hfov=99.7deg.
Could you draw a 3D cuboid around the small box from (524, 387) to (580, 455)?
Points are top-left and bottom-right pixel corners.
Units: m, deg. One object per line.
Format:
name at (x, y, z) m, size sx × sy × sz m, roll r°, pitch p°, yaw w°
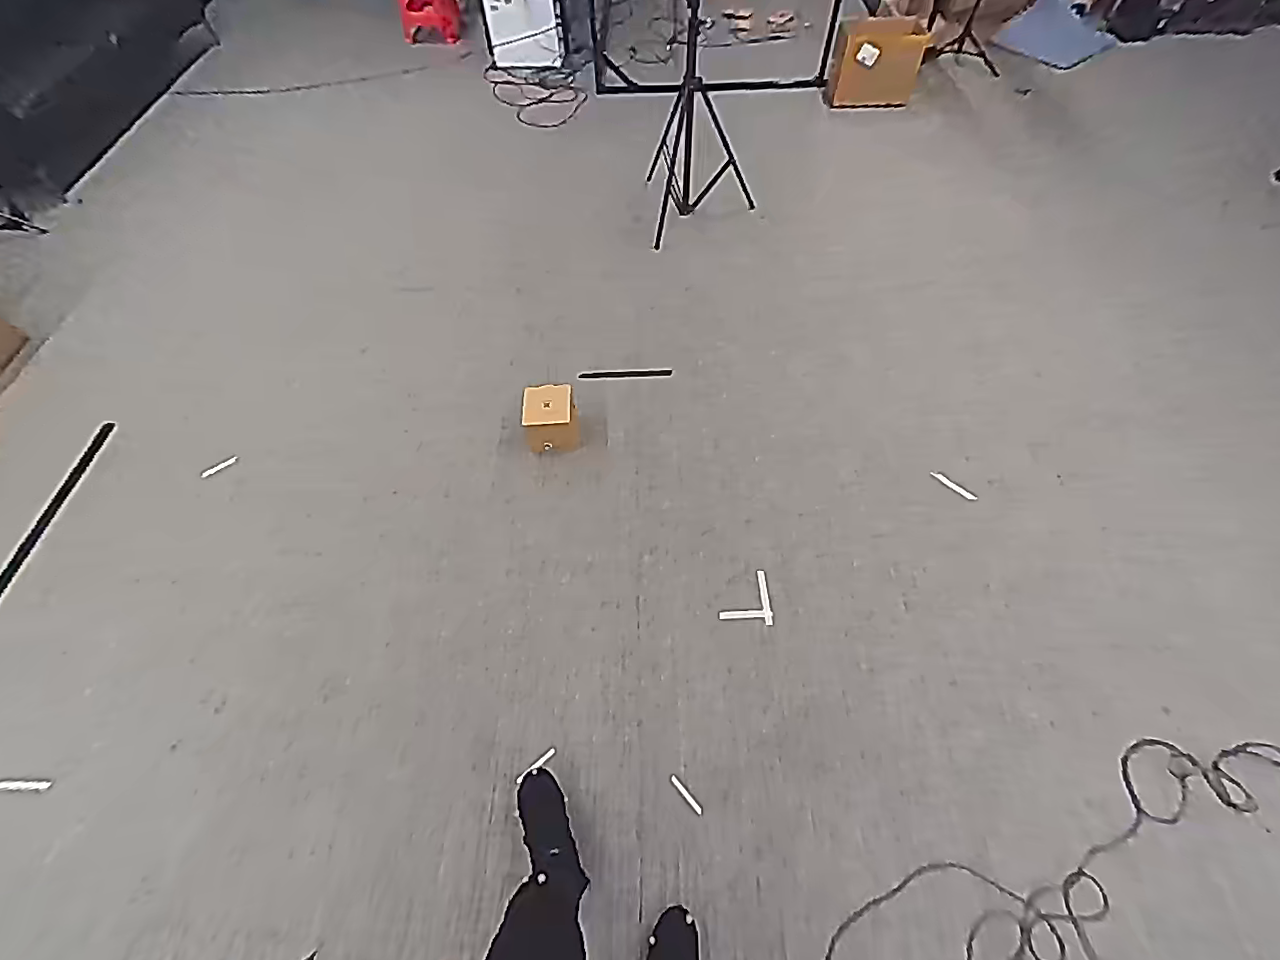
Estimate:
small box at (-0.311, -0.210, 1.940) m, size 0.168 × 0.176 × 0.179 m, roll -4°, pitch 58°, yaw 1°
